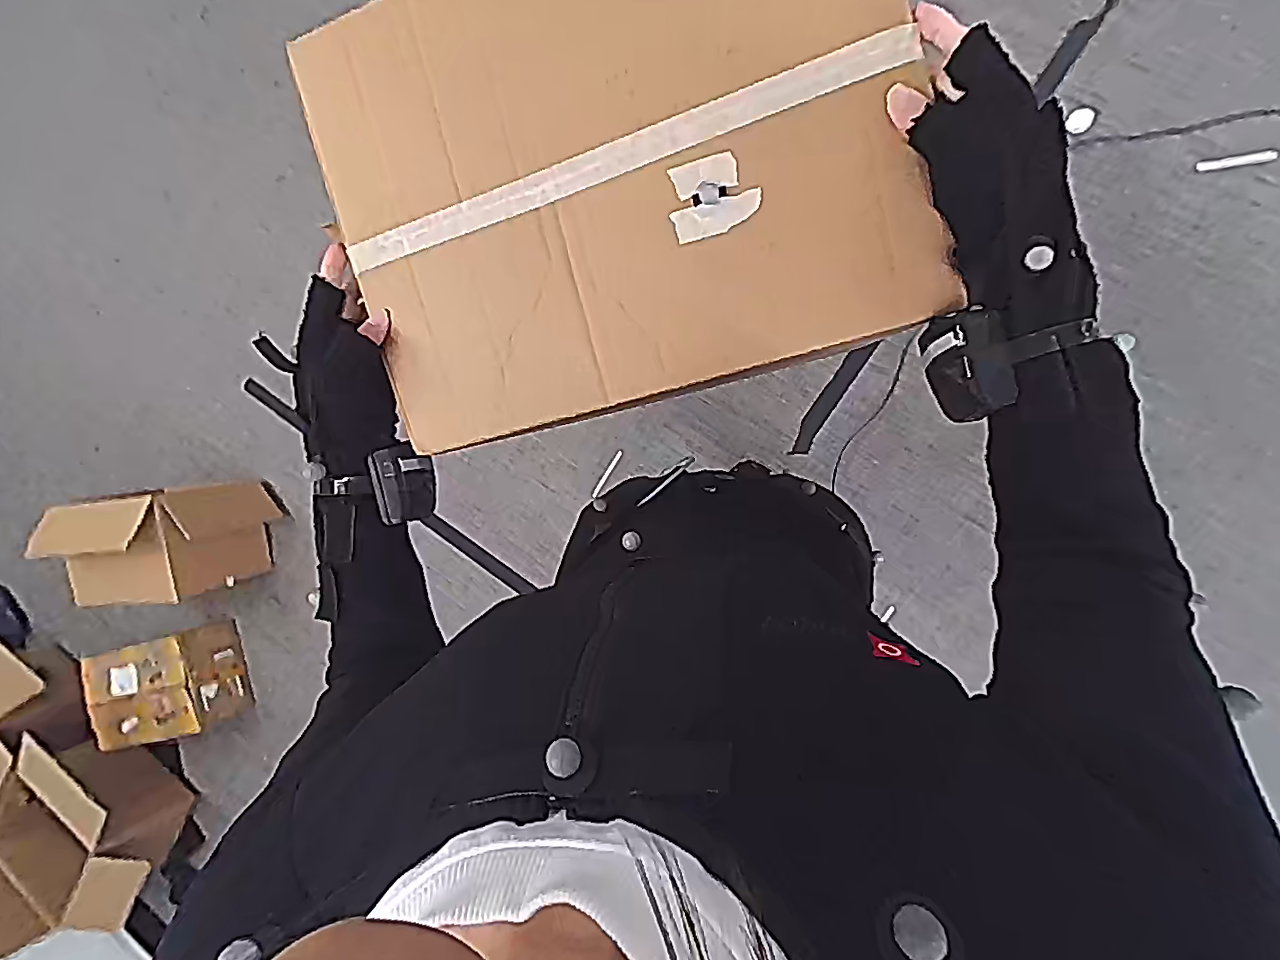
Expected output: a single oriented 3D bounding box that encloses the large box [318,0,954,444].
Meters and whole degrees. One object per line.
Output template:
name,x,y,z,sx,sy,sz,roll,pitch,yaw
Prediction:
large box,0.007,-0.243,0.523,0.408,0.320,0.320,-13,98,13
